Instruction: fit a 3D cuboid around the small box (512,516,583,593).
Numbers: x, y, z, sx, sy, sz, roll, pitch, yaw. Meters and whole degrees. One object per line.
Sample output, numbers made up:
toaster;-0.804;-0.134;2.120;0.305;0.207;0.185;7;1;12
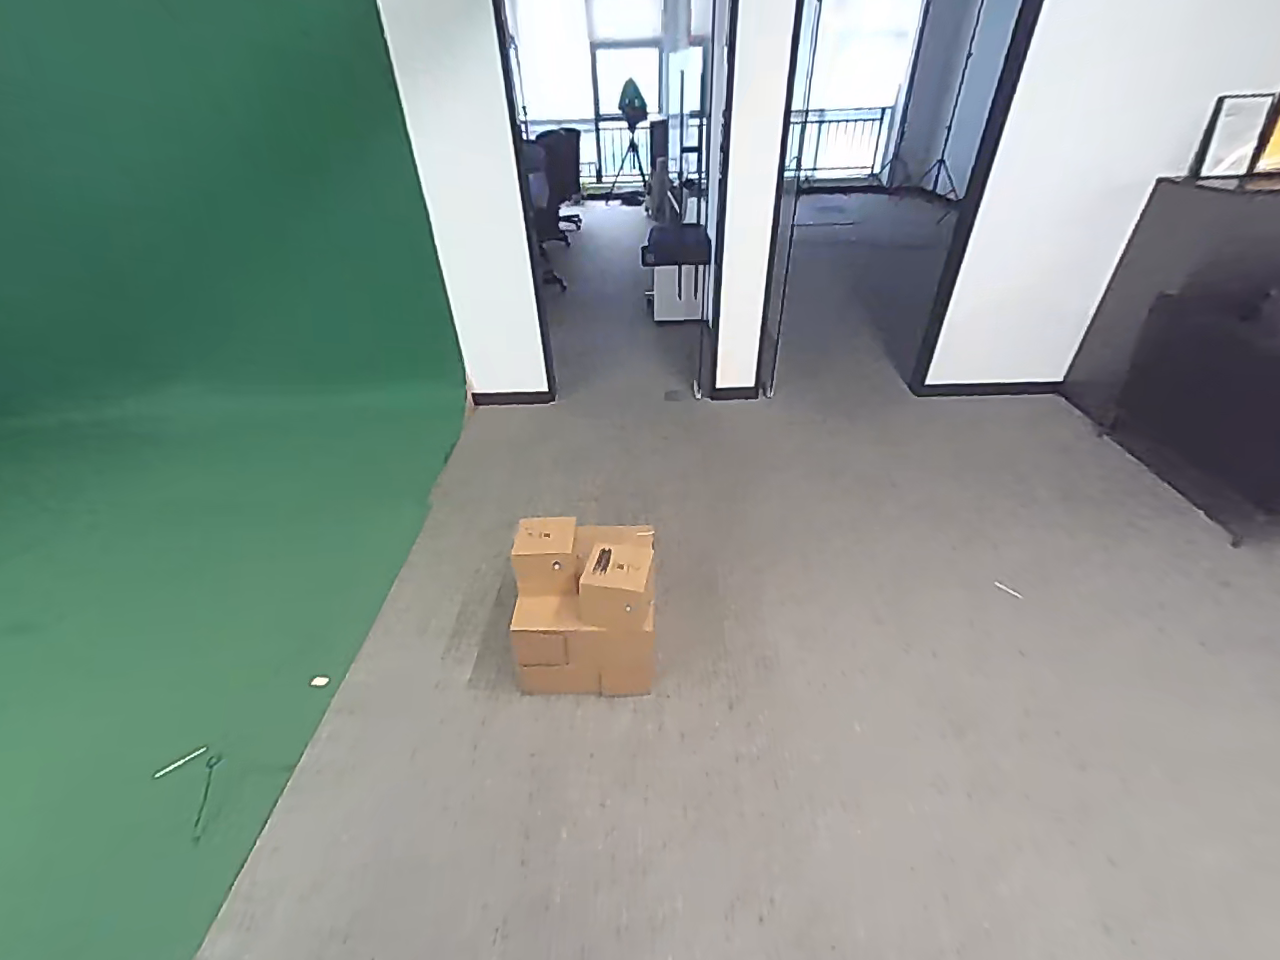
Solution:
small box;-0.269;0.225;1.623;0.179;0.176;0.168;-1;34;1
